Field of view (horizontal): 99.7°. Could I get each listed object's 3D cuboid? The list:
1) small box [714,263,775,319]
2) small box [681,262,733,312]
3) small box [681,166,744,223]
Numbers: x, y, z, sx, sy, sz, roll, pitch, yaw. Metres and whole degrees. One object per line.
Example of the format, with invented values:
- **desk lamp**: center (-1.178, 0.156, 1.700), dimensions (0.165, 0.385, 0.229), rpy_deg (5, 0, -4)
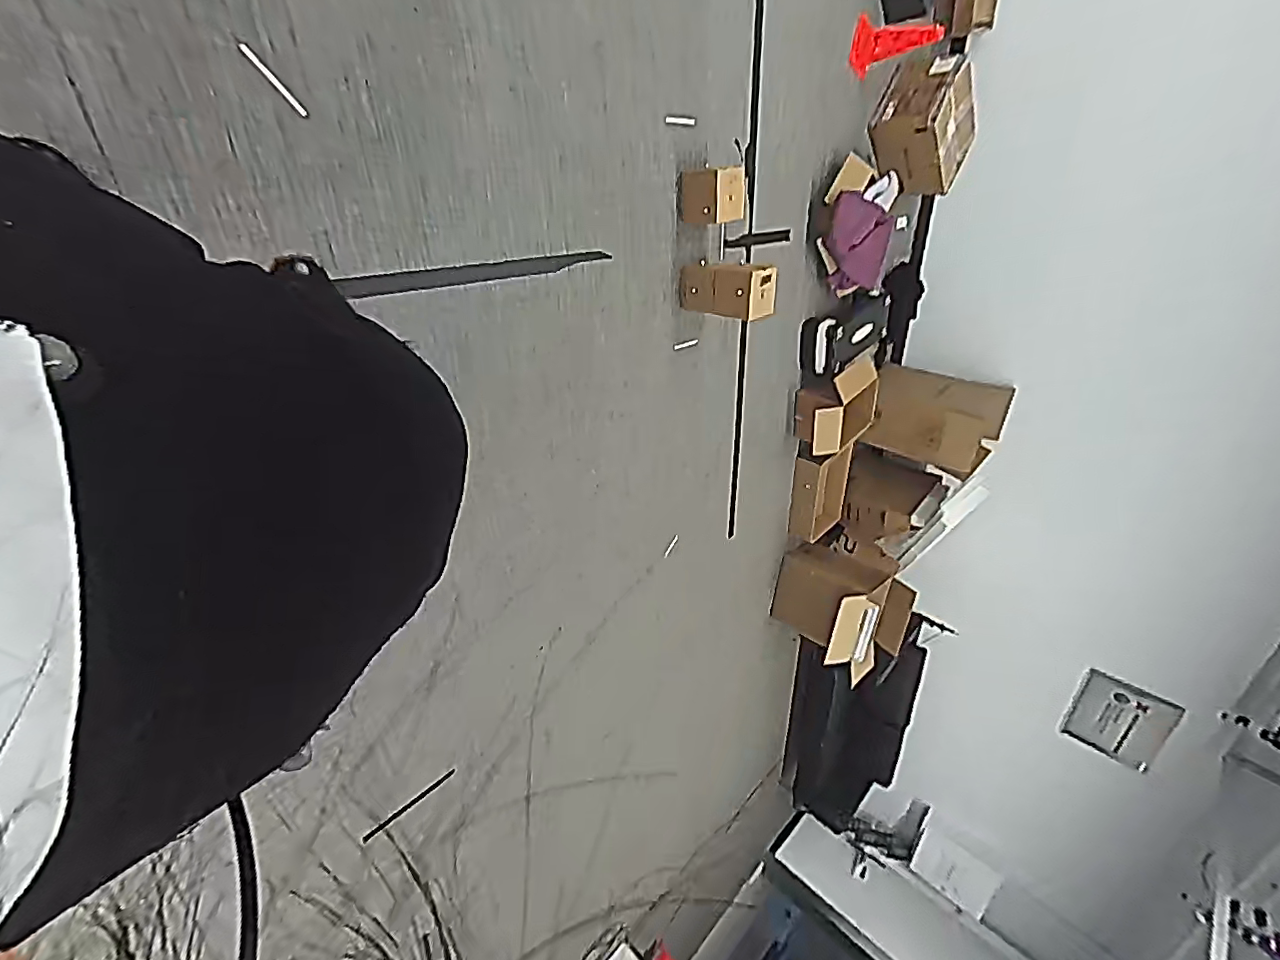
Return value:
- **small box**: center (0.397, -0.731, 2.072), dimensions (0.168, 0.176, 0.179), rpy_deg (-27, 129, -37)
- **small box**: center (0.280, -0.781, 2.178), dimensions (0.179, 0.176, 0.168), rpy_deg (-25, 127, -37)
- **small box**: center (0.266, -1.064, 2.011), dimensions (0.168, 0.176, 0.179), rpy_deg (-30, 129, -36)
